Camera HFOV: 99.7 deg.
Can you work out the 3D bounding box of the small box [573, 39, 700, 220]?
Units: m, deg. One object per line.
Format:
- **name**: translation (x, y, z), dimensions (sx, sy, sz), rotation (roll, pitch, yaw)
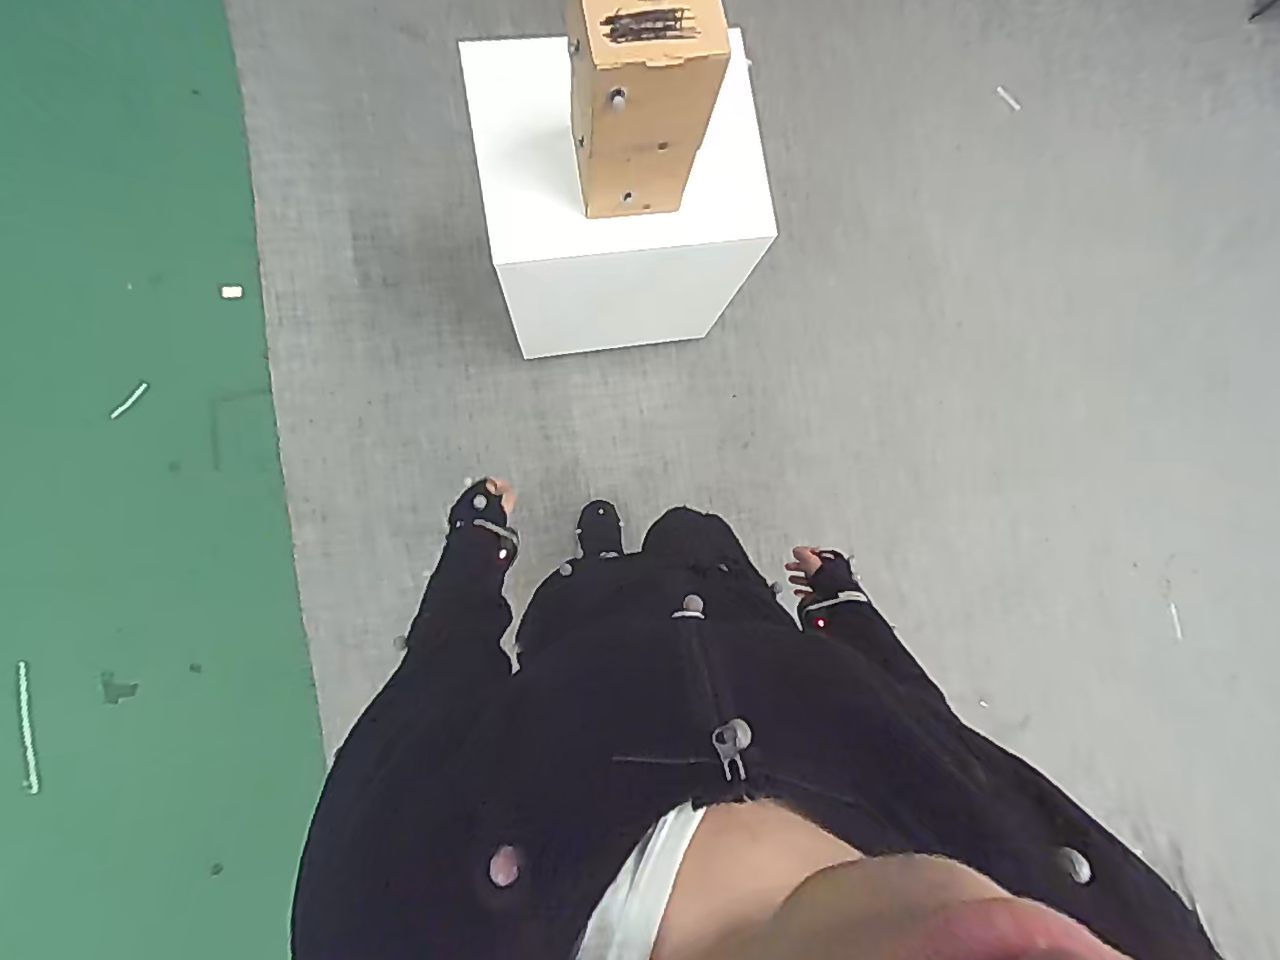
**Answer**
- **small box**: translation (-0.015, -0.545, 0.857), dimensions (0.168, 0.176, 0.179), rotation (-9, 86, -7)
